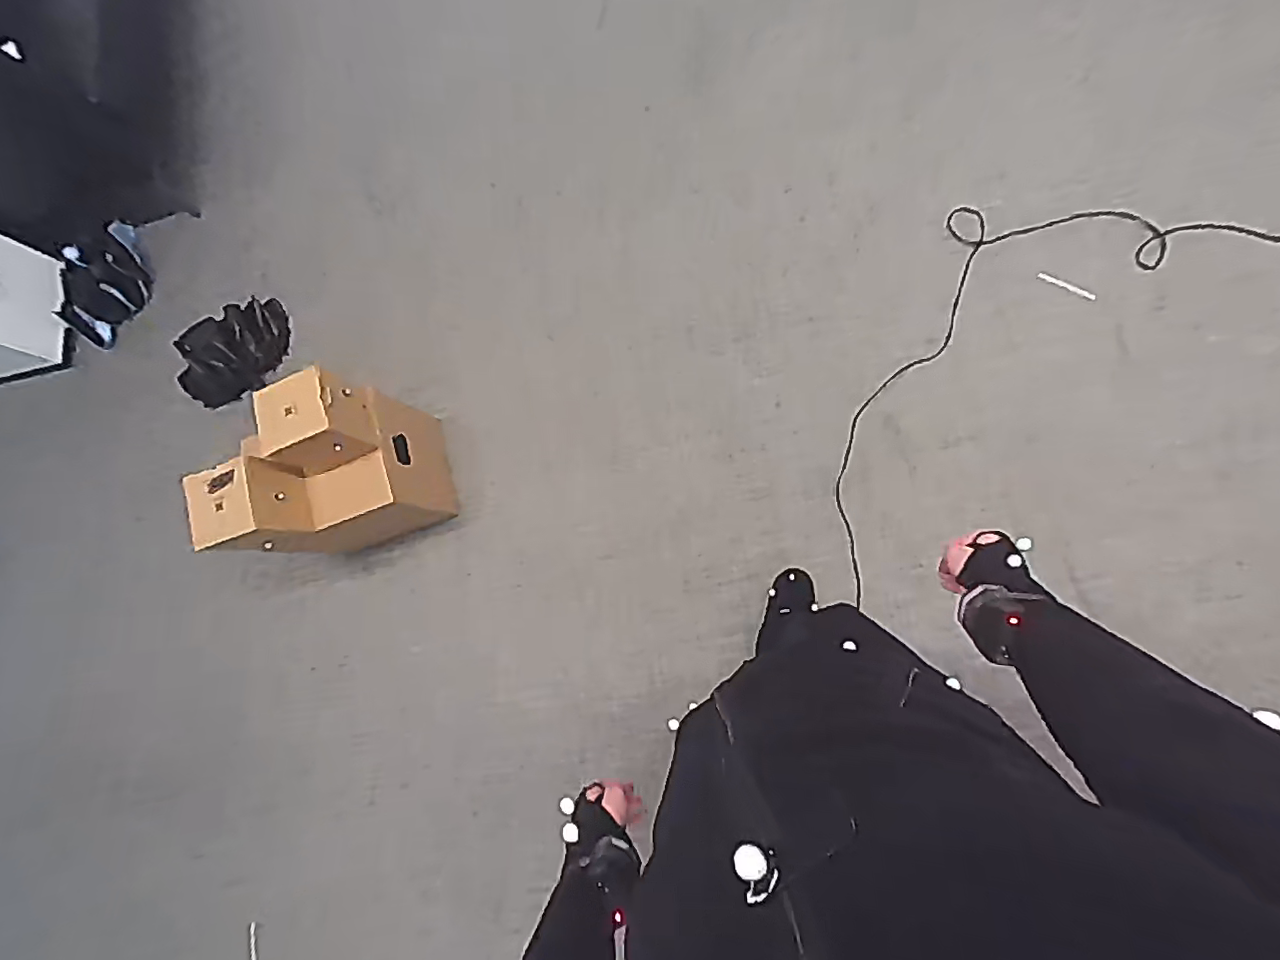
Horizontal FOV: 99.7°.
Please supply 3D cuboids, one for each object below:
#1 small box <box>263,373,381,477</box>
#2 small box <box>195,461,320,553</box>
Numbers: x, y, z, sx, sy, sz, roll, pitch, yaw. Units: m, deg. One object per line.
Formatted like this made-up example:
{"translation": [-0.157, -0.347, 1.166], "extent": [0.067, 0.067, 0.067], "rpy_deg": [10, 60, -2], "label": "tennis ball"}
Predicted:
{"translation": [-0.747, -0.125, 1.290], "extent": [0.179, 0.176, 0.168], "rpy_deg": [-23, 73, 9], "label": "small box"}
{"translation": [-0.905, 0.071, 1.289], "extent": [0.168, 0.176, 0.179], "rpy_deg": [-18, 80, 9], "label": "small box"}
